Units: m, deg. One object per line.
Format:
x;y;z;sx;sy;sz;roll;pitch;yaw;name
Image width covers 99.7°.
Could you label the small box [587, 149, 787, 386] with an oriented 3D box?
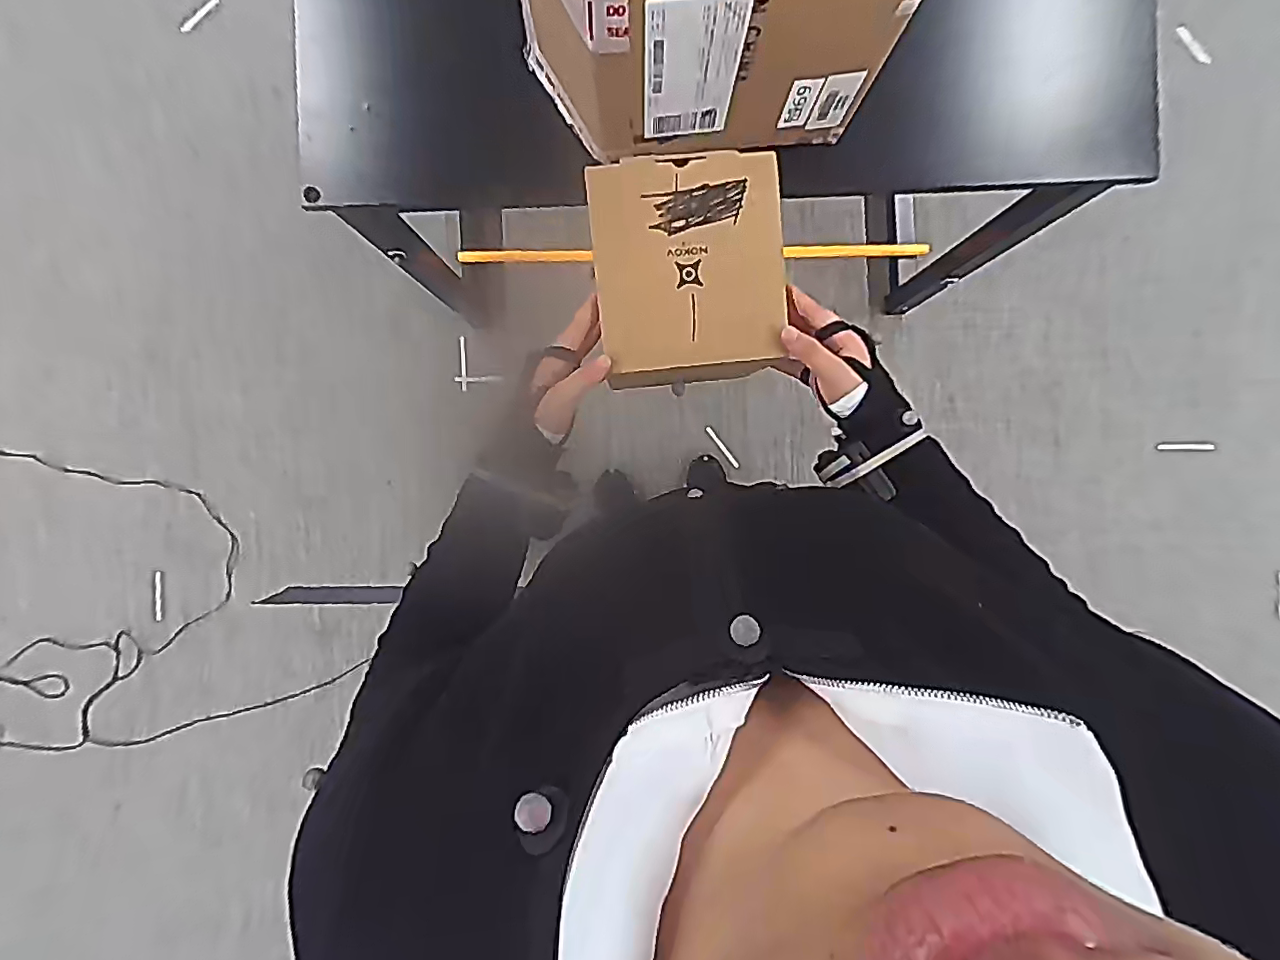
0.038;-0.197;0.547;0.168;0.176;0.179;-6;95;-1;small box
